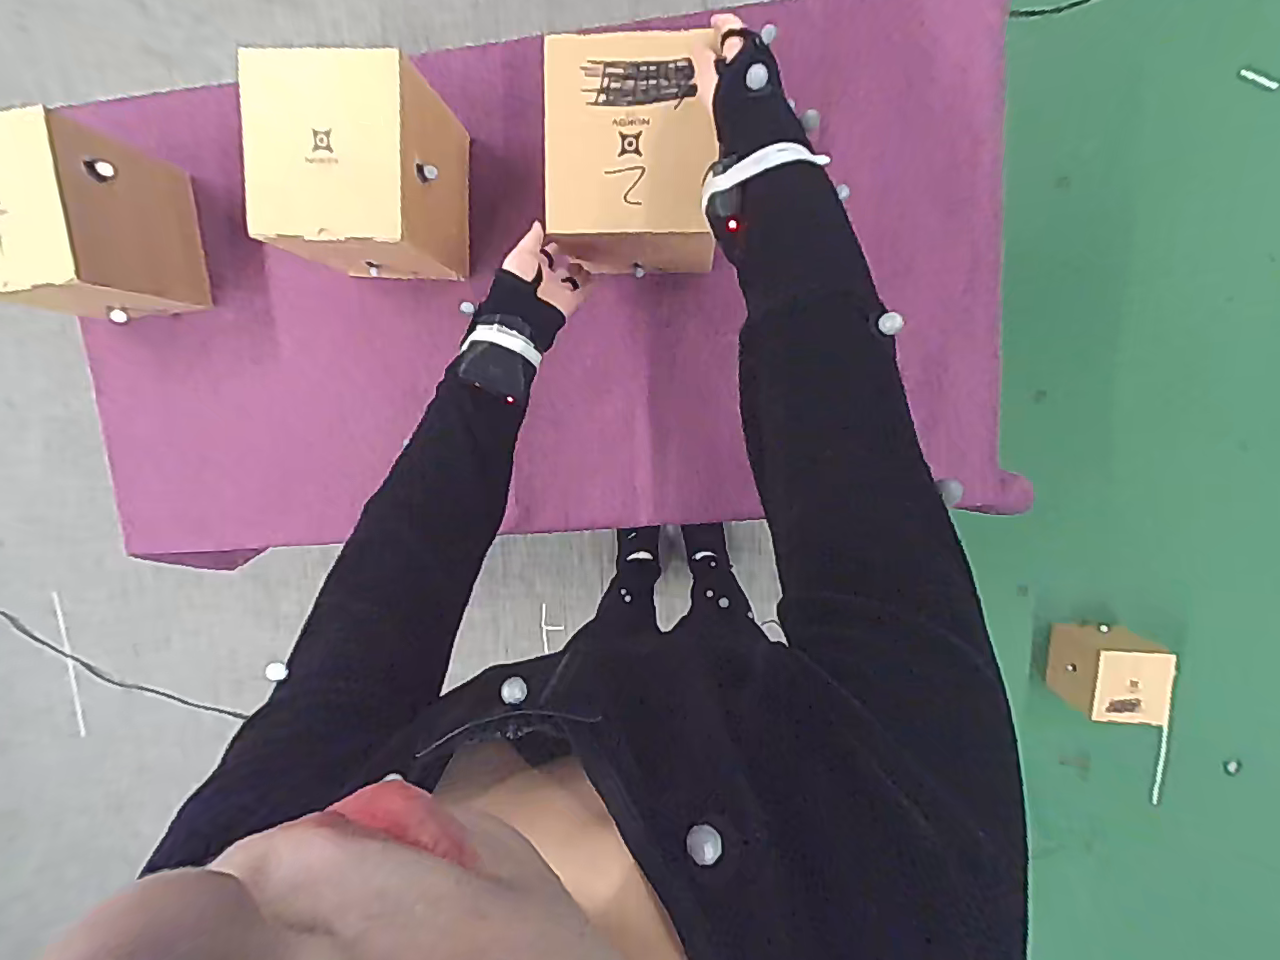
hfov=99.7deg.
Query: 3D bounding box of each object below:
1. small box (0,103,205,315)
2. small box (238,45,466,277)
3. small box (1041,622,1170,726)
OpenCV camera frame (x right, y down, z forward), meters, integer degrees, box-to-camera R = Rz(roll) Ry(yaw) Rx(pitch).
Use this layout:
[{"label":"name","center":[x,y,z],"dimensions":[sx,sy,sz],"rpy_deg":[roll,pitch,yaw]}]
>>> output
[{"label":"small box","center":[-0.672,-0.304,0.644],"dimensions":[0.168,0.176,0.179],"rpy_deg":[-3,98,6]},{"label":"small box","center":[-0.308,-0.342,0.610],"dimensions":[0.168,0.176,0.179],"rpy_deg":[4,99,5]},{"label":"small box","center":[1.129,0.471,1.328],"dimensions":[0.168,0.176,0.179],"rpy_deg":[3,100,5]}]
